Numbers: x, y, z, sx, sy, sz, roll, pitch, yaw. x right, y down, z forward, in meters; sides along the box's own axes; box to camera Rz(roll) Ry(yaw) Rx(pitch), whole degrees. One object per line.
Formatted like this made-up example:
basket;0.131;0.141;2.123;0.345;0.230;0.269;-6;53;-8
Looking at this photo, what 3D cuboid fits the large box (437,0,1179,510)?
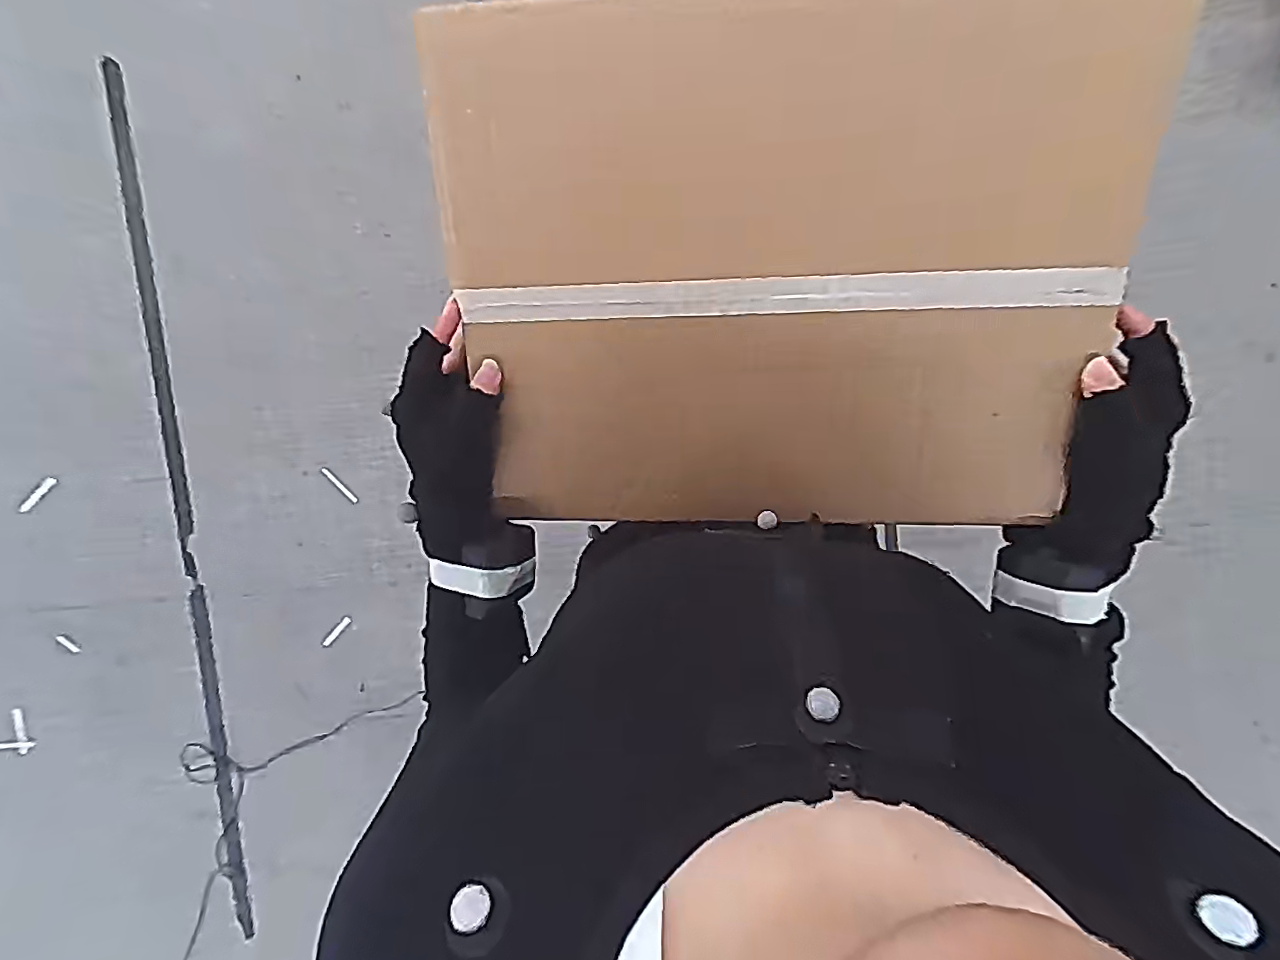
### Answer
large box;0.095;-0.176;0.483;0.408;0.320;0.320;1;113;5
